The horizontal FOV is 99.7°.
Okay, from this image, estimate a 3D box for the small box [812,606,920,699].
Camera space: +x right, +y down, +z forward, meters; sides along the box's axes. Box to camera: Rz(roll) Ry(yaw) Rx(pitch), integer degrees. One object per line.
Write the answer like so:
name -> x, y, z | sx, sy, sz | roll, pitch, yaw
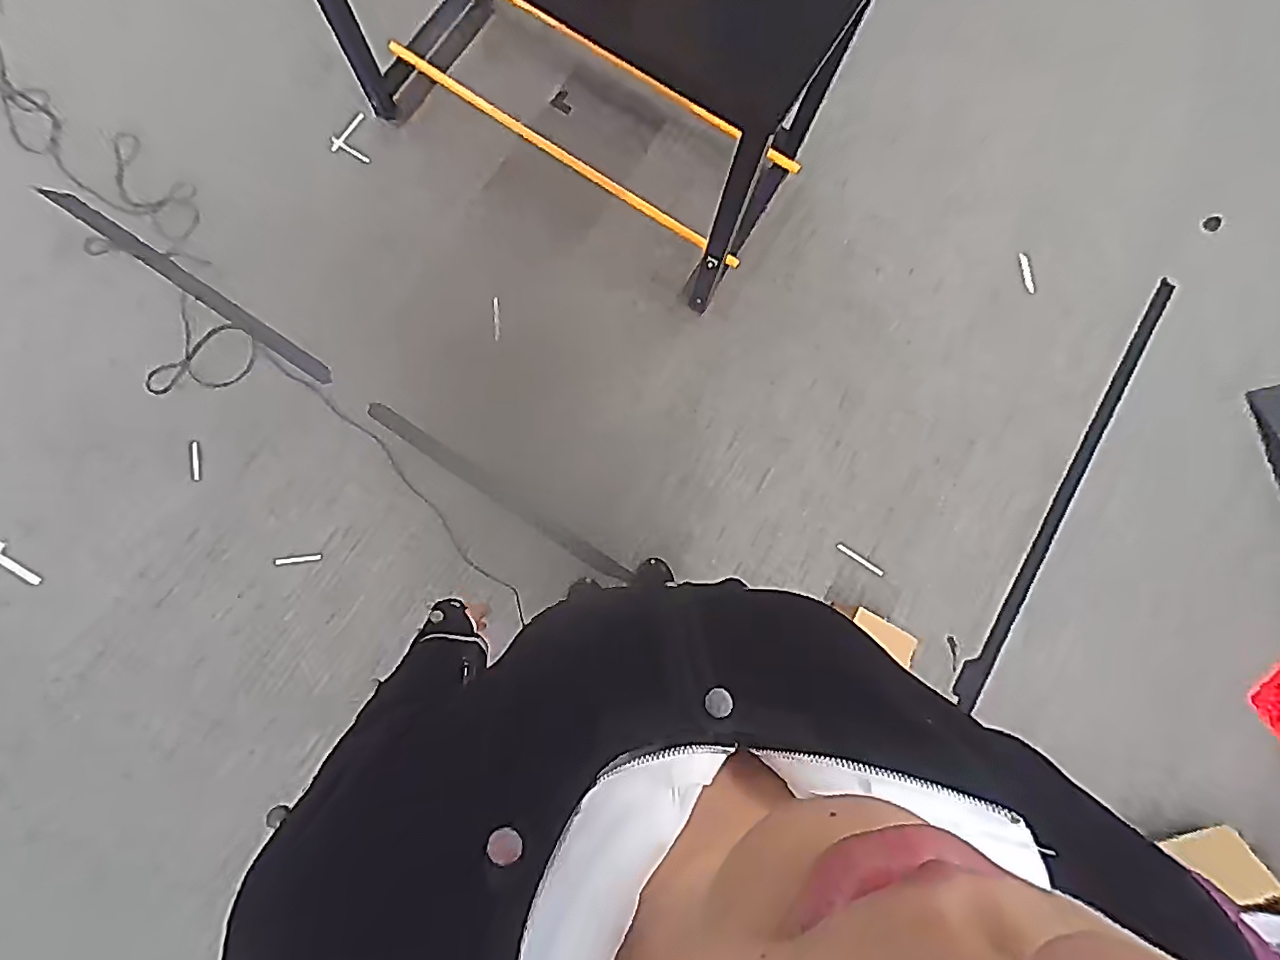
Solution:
small box -> 0.590, 0.444, 1.431 | 0.179, 0.176, 0.168 | 29, 80, 2
